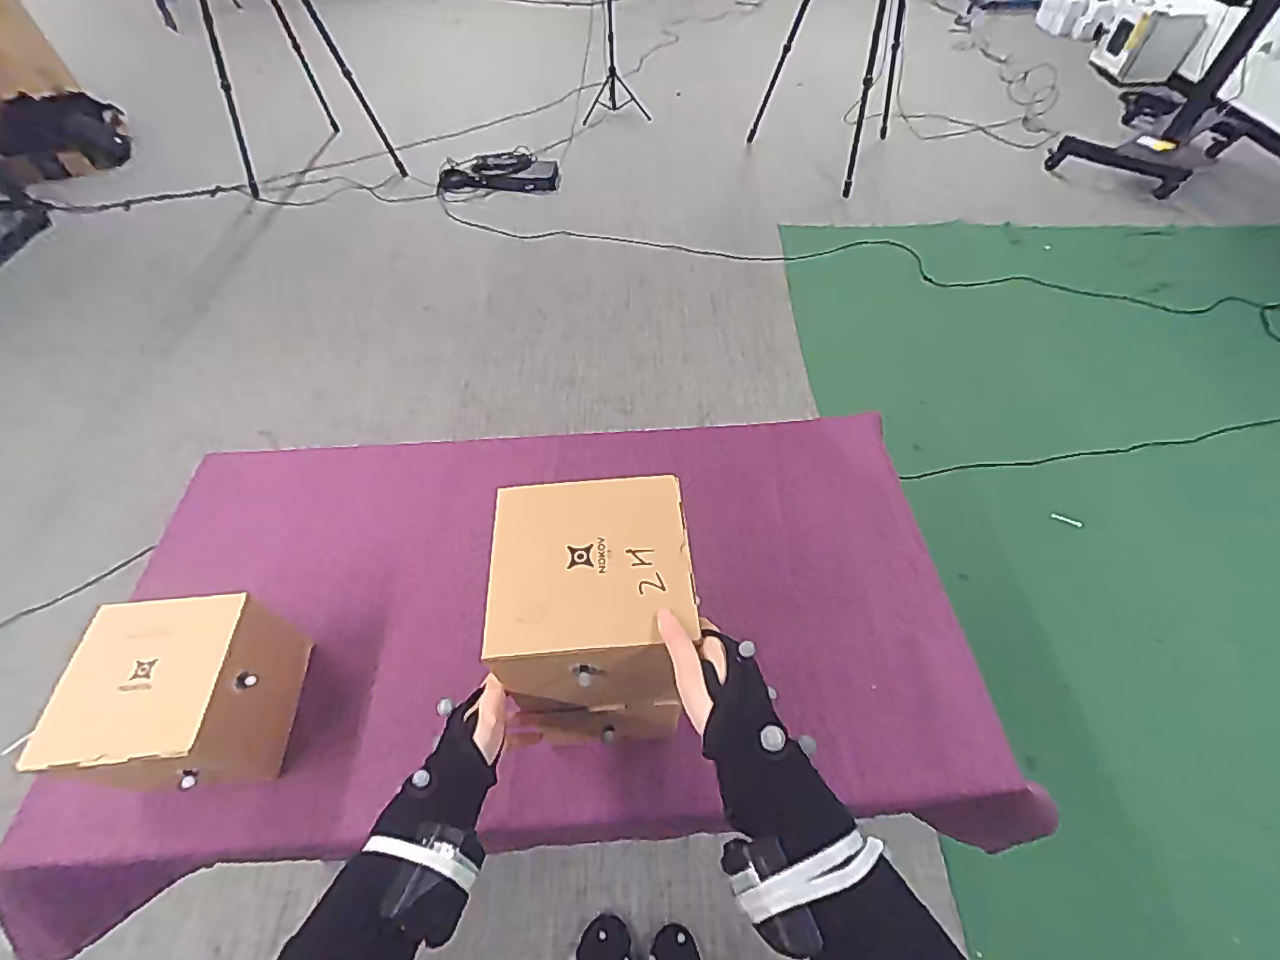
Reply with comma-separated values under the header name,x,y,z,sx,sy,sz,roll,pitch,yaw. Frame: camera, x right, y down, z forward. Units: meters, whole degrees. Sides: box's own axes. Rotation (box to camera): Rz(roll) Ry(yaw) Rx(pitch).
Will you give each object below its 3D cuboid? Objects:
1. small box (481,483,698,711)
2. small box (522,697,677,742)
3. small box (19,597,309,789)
name,x,y,z,sx,sy,sz,roll,pitch,yaw
small box,-0.042,0.121,0.537,0.179,0.176,0.168,-3,54,-2
small box,-0.044,0.218,0.671,0.168,0.176,0.179,-3,54,-2
small box,-0.531,0.258,0.643,0.168,0.176,0.179,-3,53,-4
